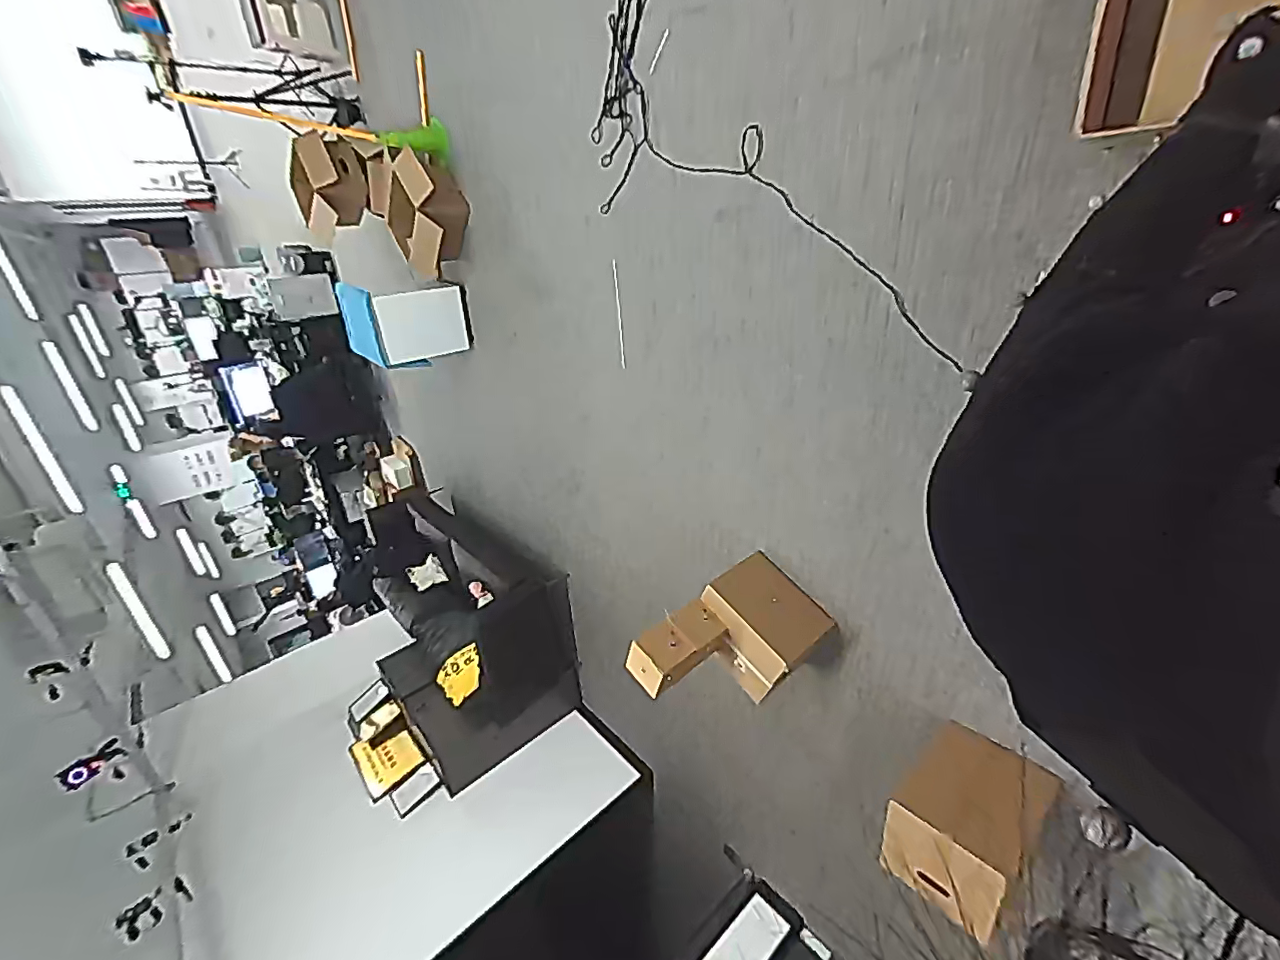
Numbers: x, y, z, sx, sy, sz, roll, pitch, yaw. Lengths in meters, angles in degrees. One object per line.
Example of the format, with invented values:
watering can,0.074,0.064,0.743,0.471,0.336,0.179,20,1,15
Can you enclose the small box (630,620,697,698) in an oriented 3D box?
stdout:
small box,0.086,0.647,1.962,0.168,0.176,0.179,42,138,31
